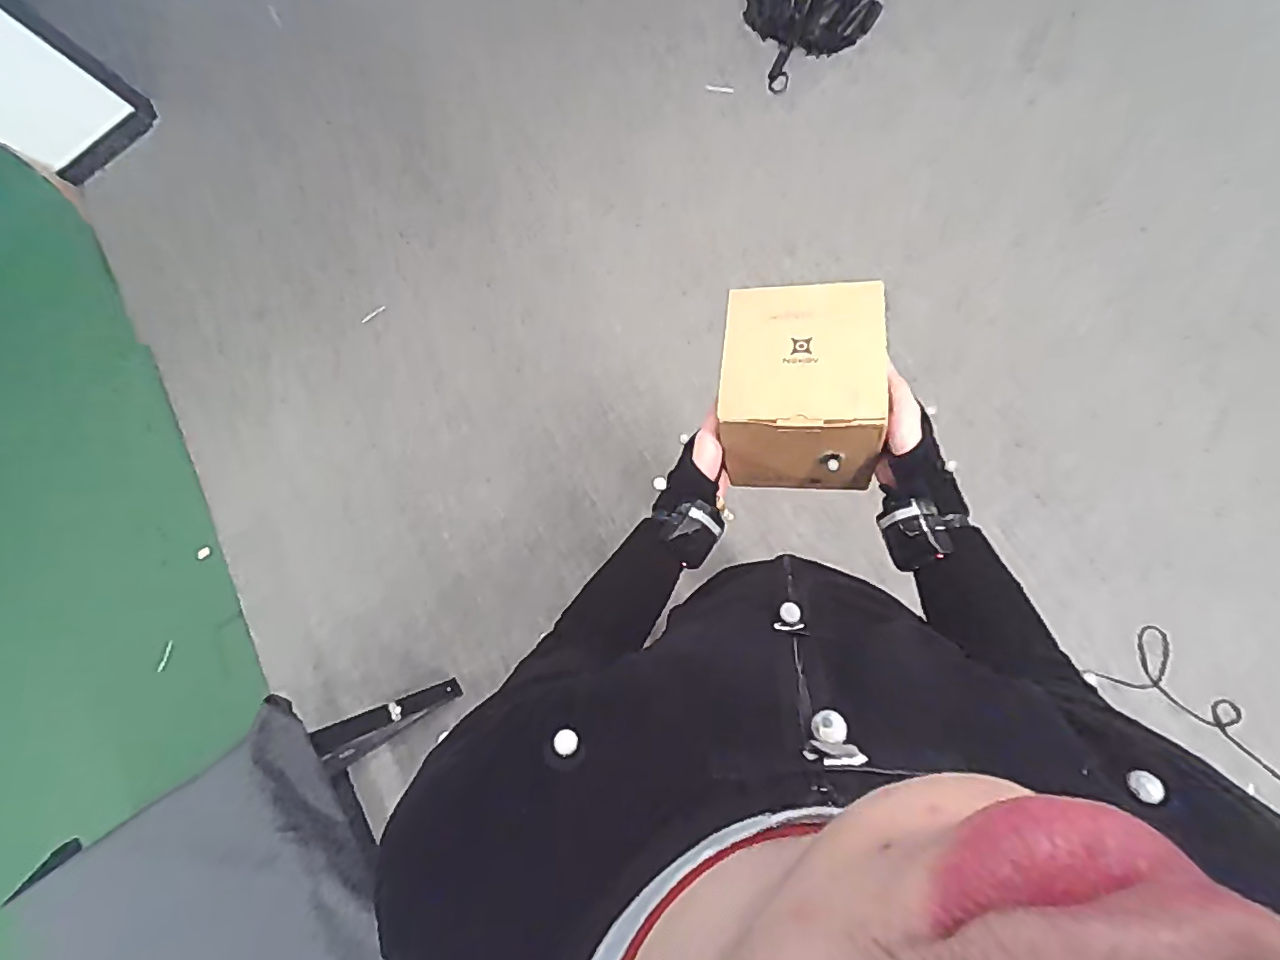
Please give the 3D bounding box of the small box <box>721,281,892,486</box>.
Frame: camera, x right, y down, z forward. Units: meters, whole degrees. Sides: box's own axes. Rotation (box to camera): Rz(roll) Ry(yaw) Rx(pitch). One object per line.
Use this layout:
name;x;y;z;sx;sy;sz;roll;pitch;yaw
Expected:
small box;0.191;-0.103;0.634;0.168;0.176;0.179;2;65;15
